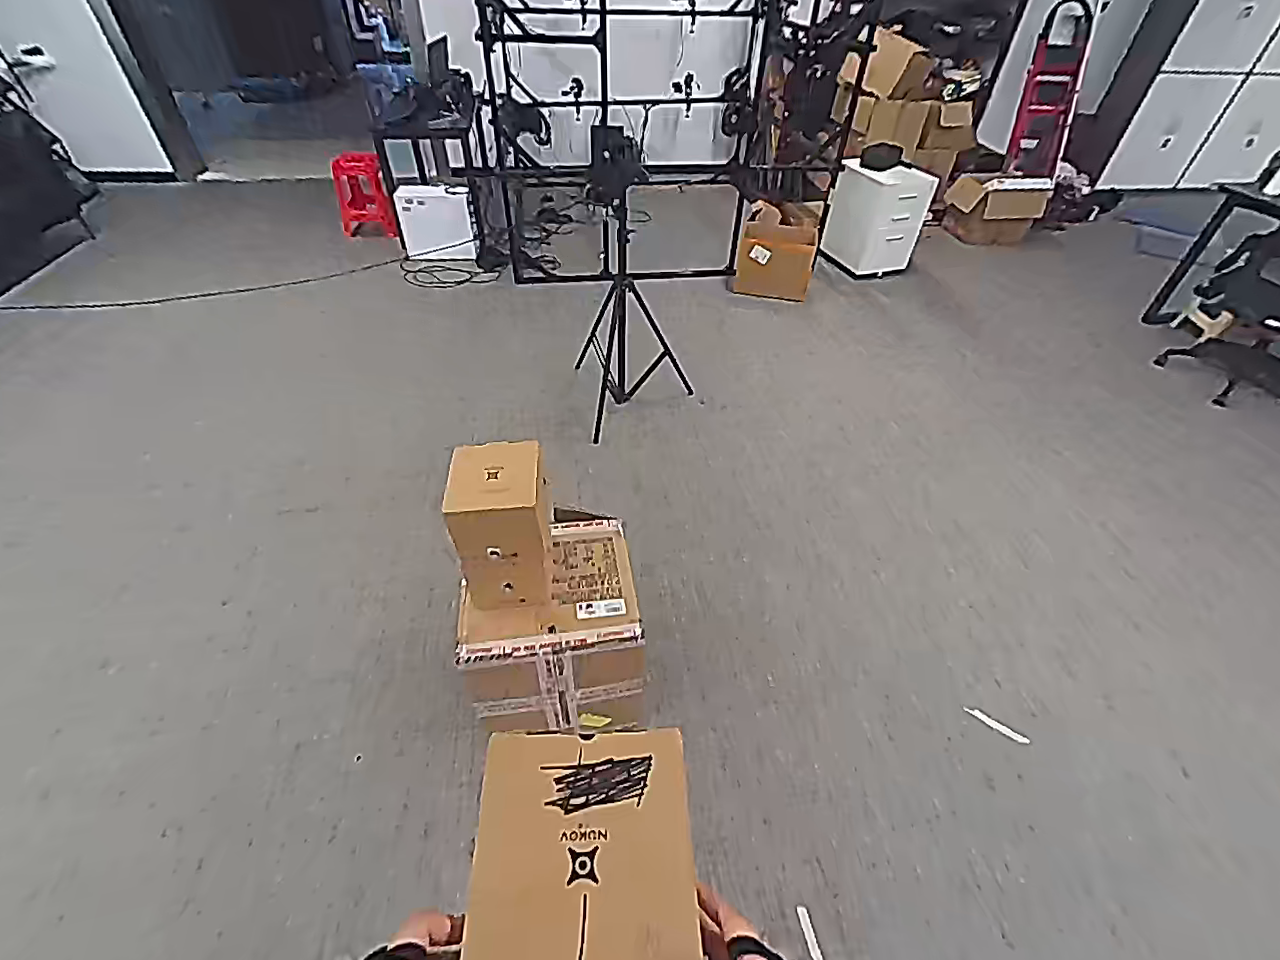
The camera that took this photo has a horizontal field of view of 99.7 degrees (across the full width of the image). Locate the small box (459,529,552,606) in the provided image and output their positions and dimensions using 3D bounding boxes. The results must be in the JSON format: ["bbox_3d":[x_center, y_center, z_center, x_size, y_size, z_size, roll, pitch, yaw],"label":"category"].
[{"bbox_3d":[-0.281,0.161,1.175,0.168,0.176,0.179,-4,46,-5],"label":"small box"}]

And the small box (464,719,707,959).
[{"bbox_3d":[-0.044,0.326,0.465,0.168,0.176,0.179,1,47,-5],"label":"small box"}]

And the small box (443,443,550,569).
[{"bbox_3d":[-0.269,0.051,1.054,0.168,0.176,0.179,-5,47,-4],"label":"small box"}]
